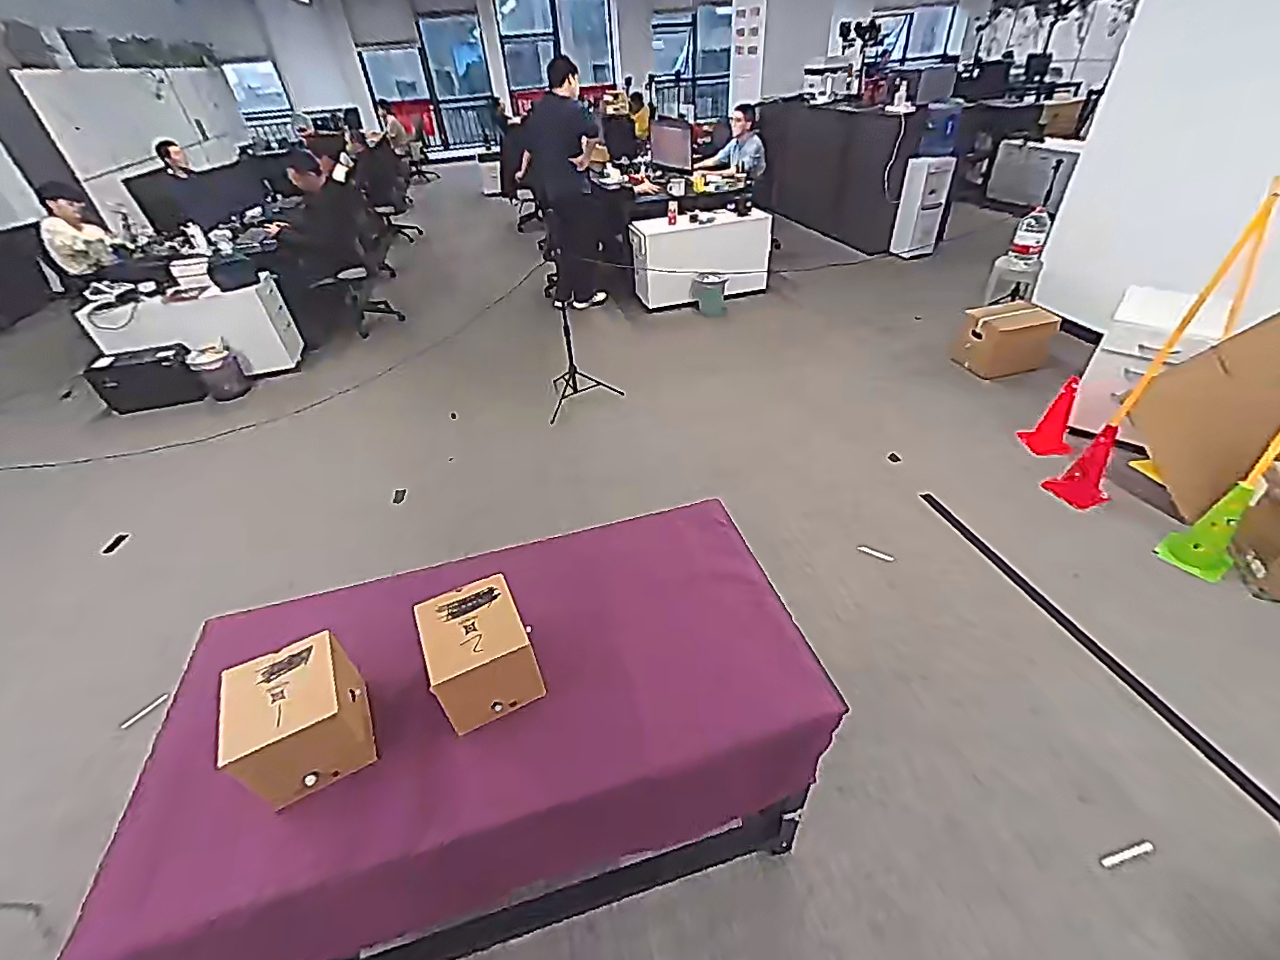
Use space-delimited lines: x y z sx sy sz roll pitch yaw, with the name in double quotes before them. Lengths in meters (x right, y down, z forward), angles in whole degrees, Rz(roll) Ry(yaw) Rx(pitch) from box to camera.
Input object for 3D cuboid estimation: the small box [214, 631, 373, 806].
"small box" -0.567 0.395 0.902 0.168 0.176 0.179 -22 43 -20
